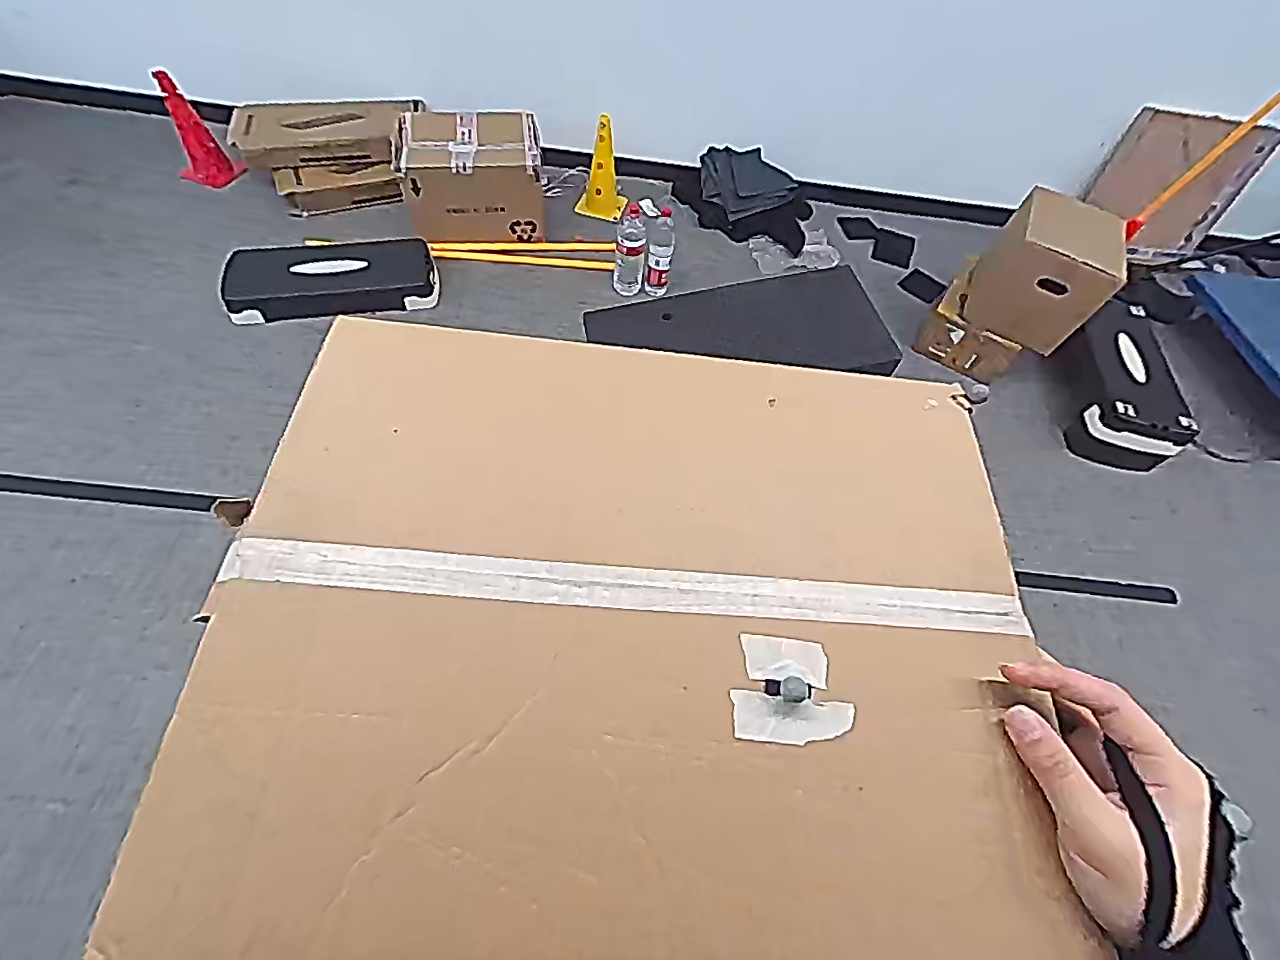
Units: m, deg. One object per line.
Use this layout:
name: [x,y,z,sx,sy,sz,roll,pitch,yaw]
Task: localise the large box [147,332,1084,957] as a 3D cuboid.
large box: [-0.008,0.124,0.423,0.408,0.320,0.320,6,64,-5]
